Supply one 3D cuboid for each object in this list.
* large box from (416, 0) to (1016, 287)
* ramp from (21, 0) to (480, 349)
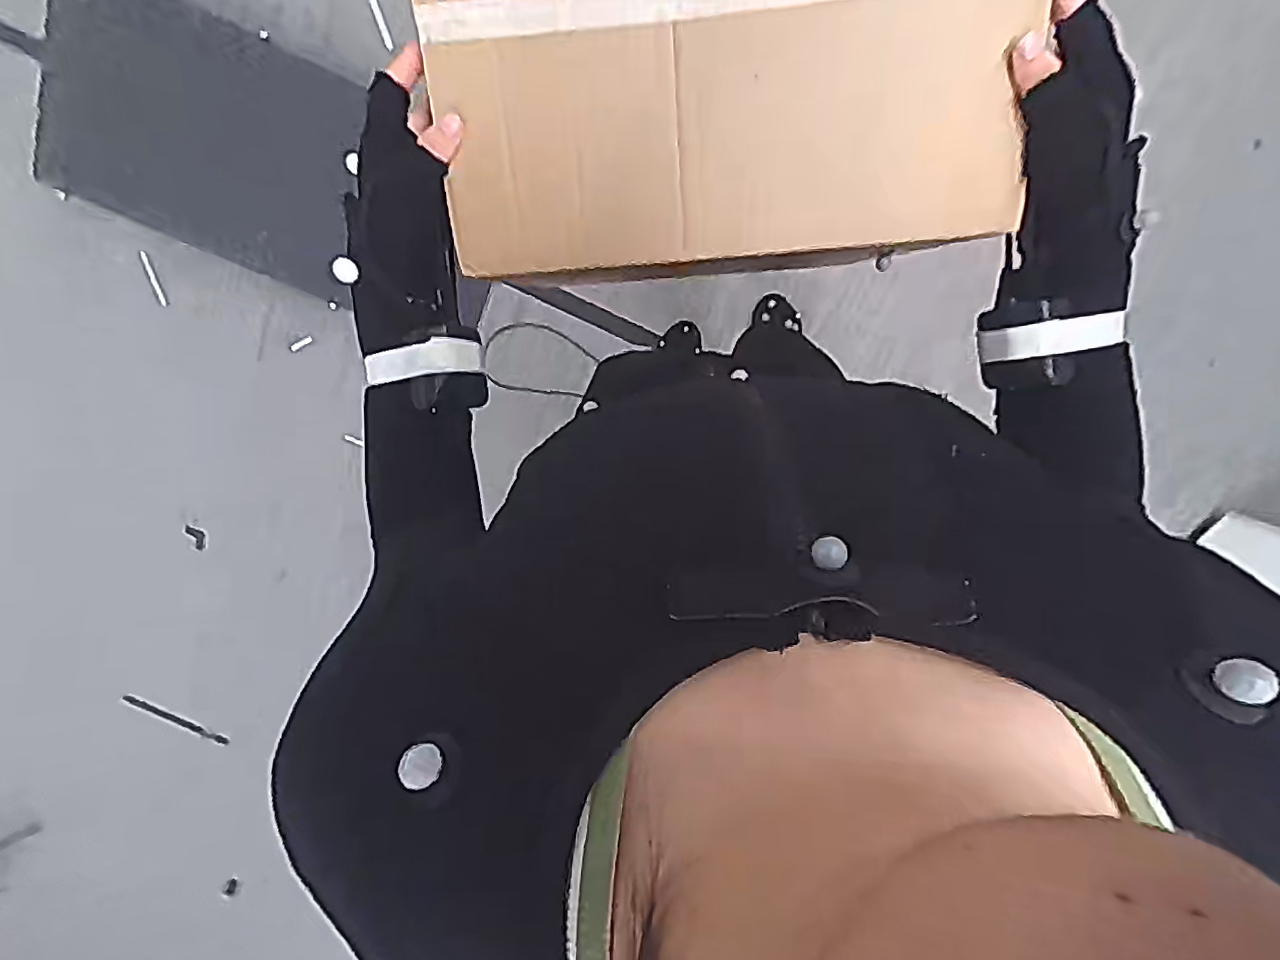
[{"bbox_3d":[0.053,-0.360,0.499,0.408,0.320,0.320,-5,108,2],"label":"large box"},{"bbox_3d":[-0.839,-0.731,1.266,0.991,0.206,0.509,23,106,-4],"label":"ramp"}]
